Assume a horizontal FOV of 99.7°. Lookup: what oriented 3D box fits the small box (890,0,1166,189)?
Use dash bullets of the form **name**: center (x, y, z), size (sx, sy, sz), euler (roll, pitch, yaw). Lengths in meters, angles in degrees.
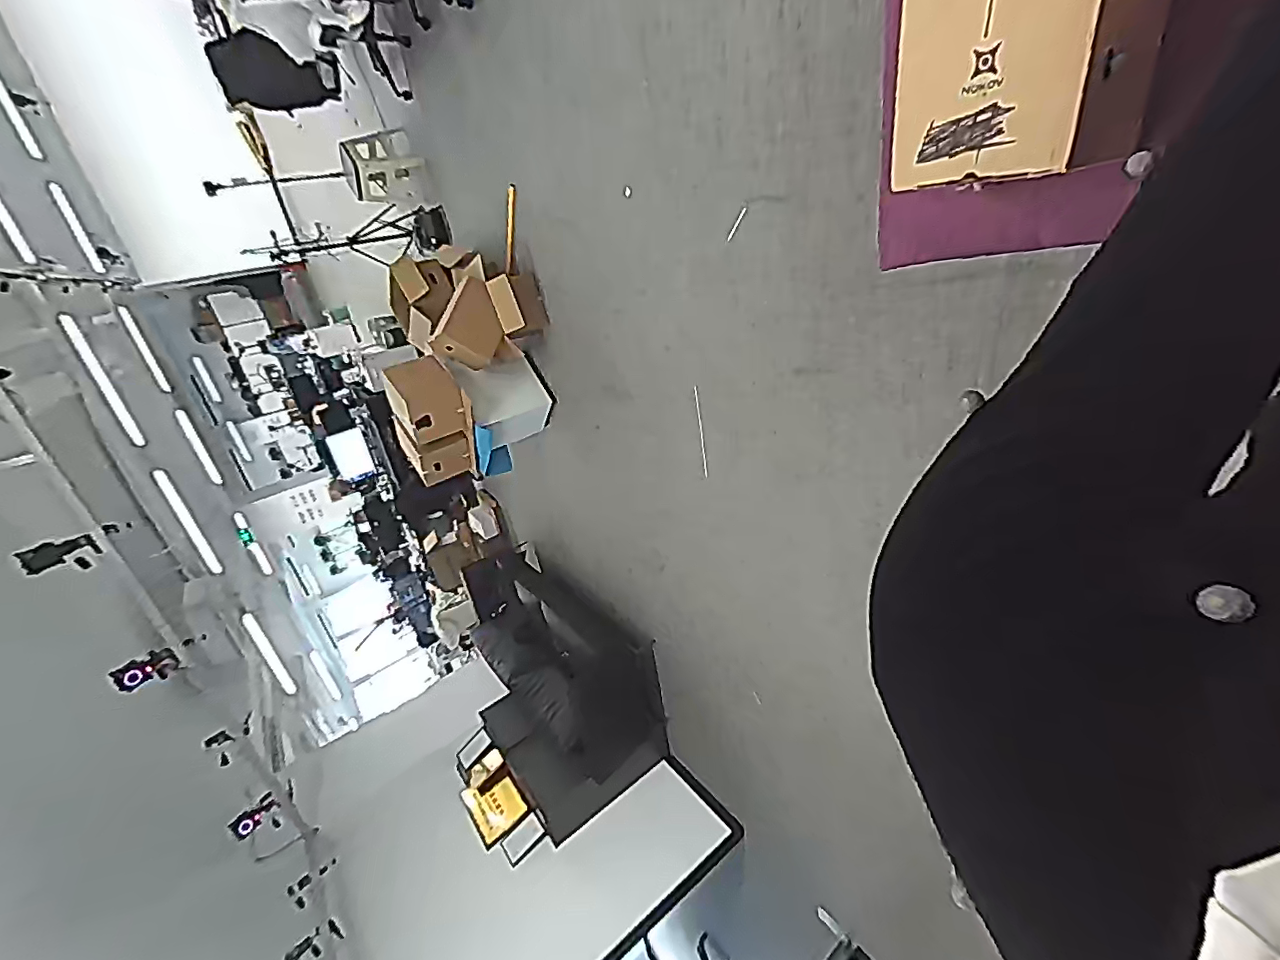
- **small box**: center (0.372, -0.399, 0.528), size (0.168, 0.176, 0.179), euler (25, 132, 48)
